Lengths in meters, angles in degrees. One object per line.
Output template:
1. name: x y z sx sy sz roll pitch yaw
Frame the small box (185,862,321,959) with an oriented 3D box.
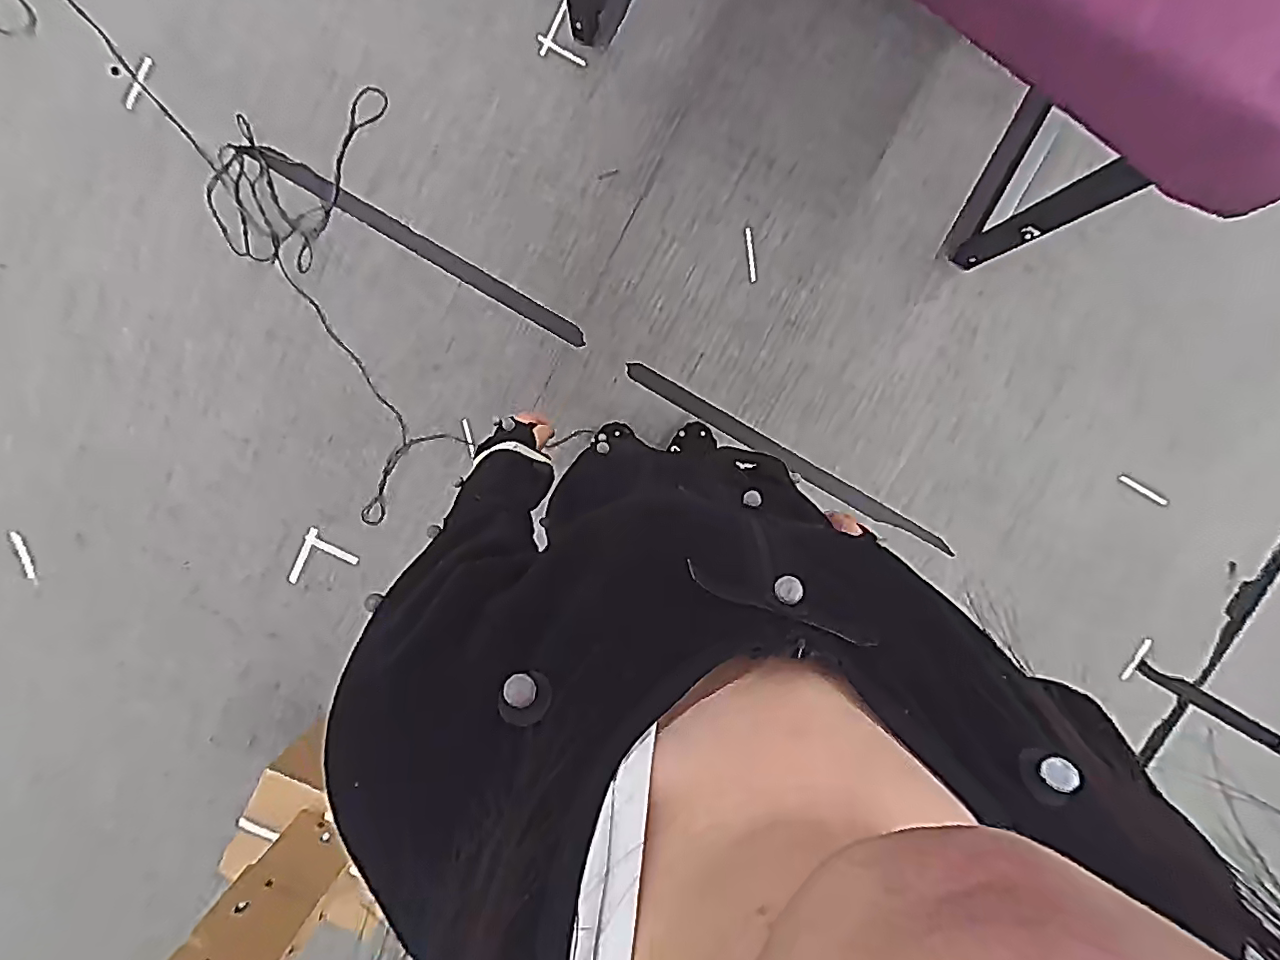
1. small box: -0.766 0.906 1.059 0.168 0.176 0.179 25 97 -2

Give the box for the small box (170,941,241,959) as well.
1. small box: -0.764 0.930 0.895 0.168 0.176 0.179 21 96 -1

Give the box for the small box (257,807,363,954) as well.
1. small box: -0.764 0.894 1.220 0.168 0.176 0.179 26 95 -3
